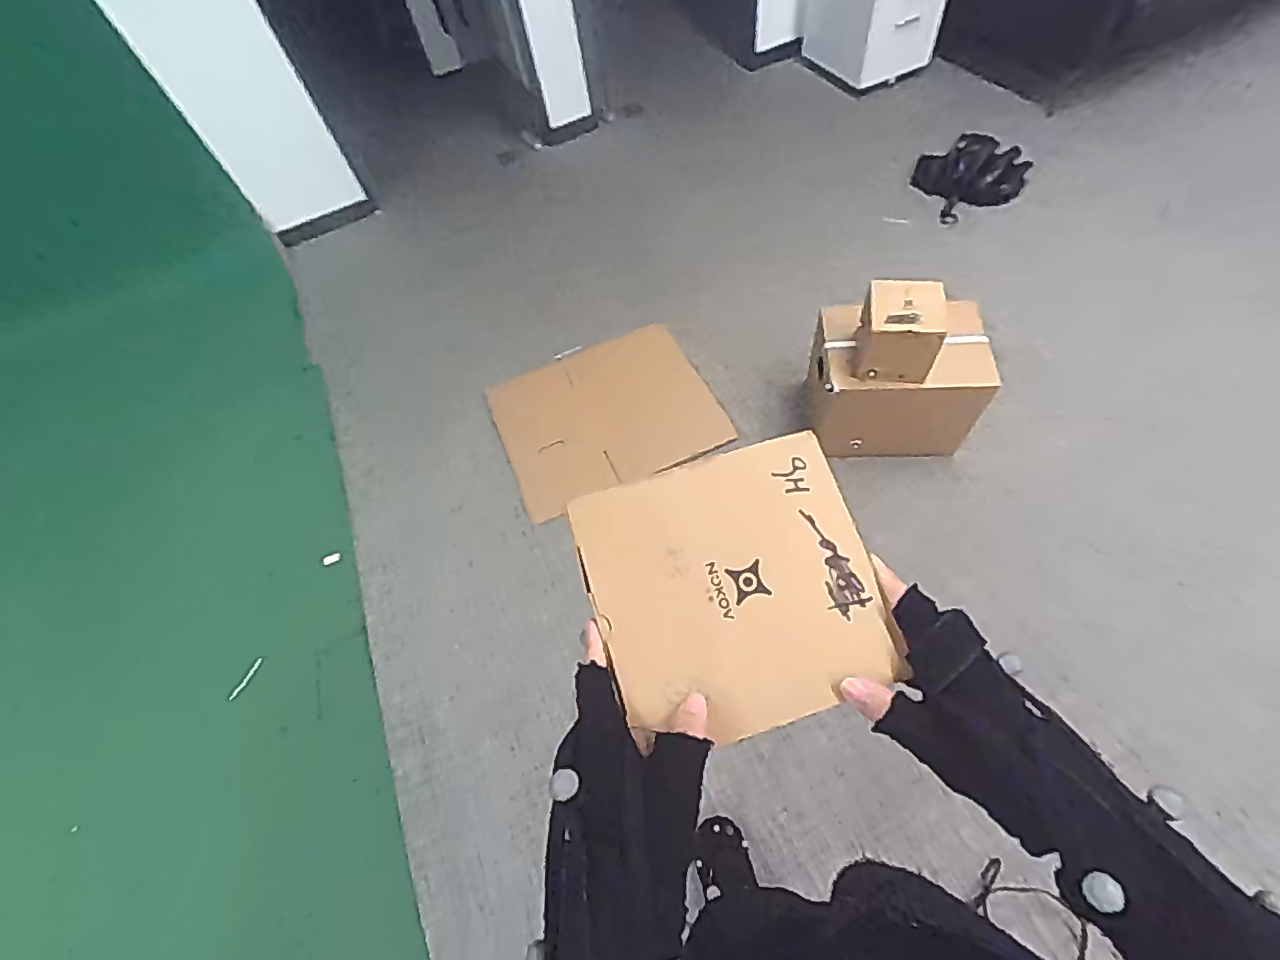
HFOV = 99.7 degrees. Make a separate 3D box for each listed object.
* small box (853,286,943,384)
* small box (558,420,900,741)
[{"bbox_3d":[0.632,-0.356,1.341,0.168,0.176,0.179,6,59,12],"label":"small box"},{"bbox_3d":[0.051,0.083,0.417,0.179,0.176,0.168,-18,71,-8],"label":"small box"}]
